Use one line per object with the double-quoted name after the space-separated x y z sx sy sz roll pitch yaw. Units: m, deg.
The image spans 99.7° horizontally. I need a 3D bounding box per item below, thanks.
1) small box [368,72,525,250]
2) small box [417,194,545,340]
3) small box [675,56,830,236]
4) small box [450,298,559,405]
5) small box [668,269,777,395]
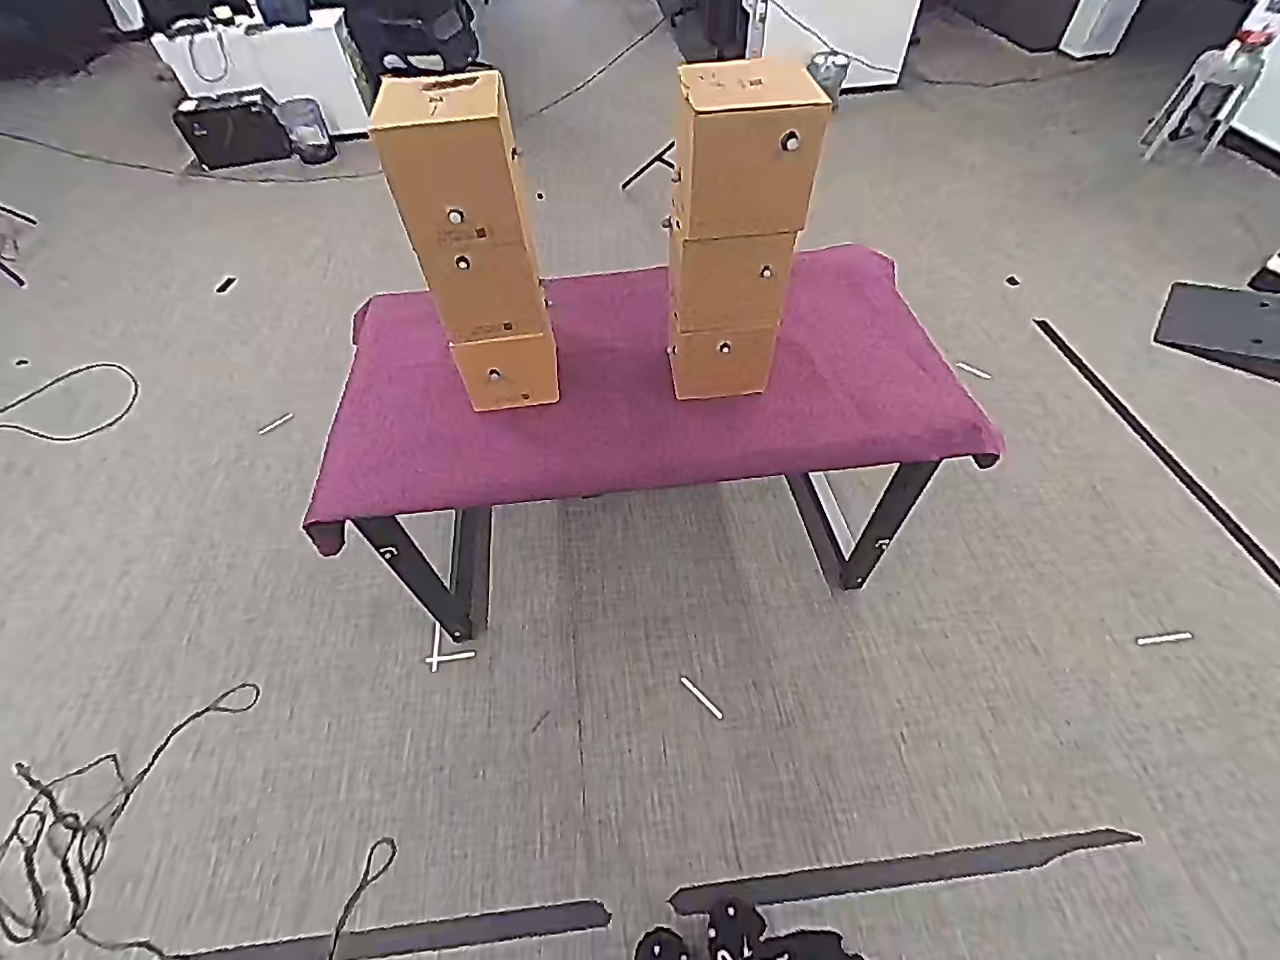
-0.267 -0.462 0.789 0.168 0.176 0.179 -8 54 -3 "small box"
-0.260 -0.364 0.921 0.168 0.176 0.179 -9 52 -4 "small box"
0.146 -0.475 0.776 0.179 0.176 0.168 -6 53 -1 "small box"
-0.254 -0.259 1.047 0.168 0.176 0.179 -8 53 -3 "small box"
0.149 -0.280 1.042 0.179 0.176 0.168 -5 54 -2 "small box"
